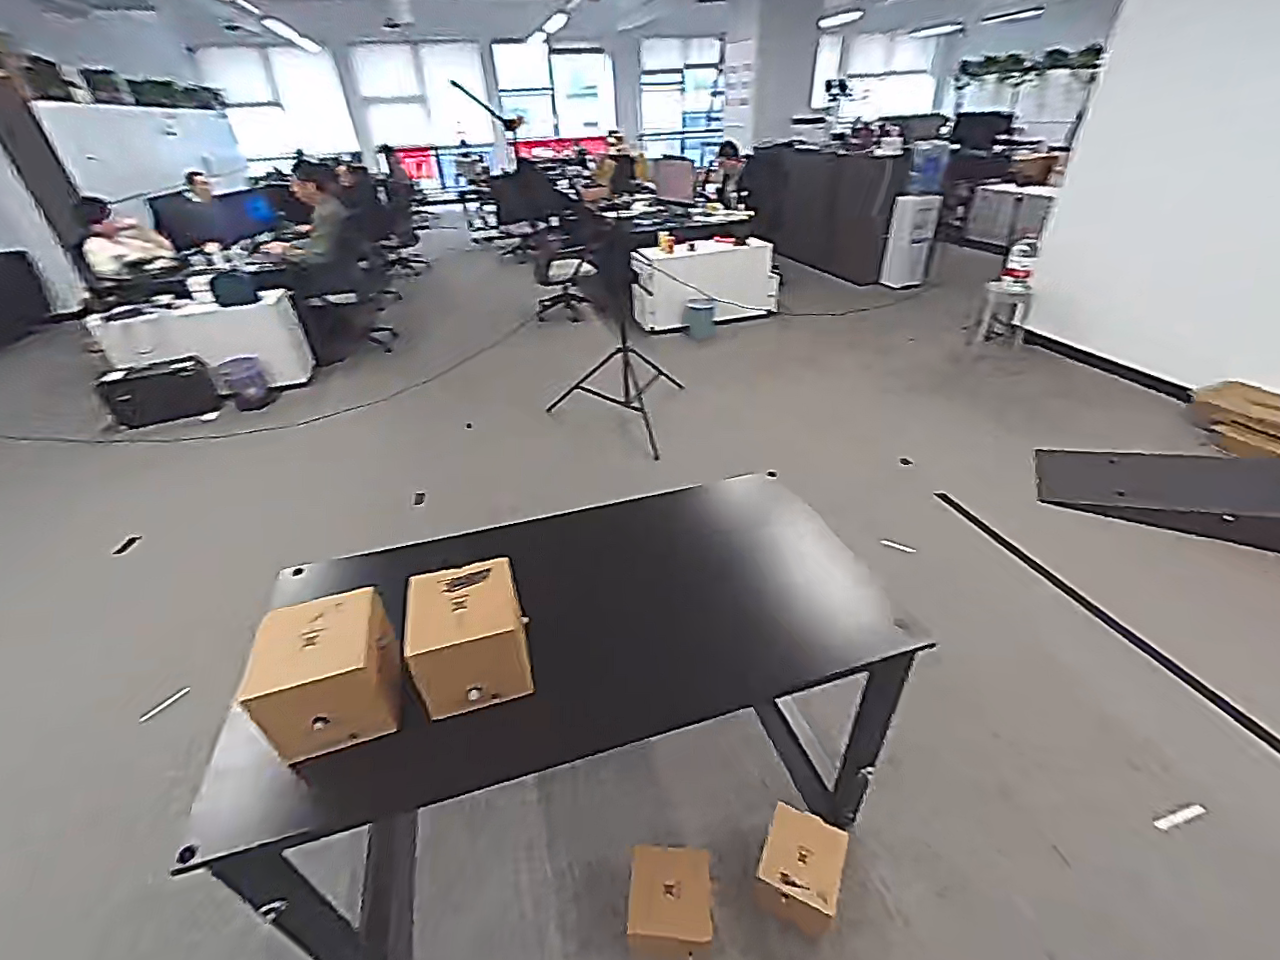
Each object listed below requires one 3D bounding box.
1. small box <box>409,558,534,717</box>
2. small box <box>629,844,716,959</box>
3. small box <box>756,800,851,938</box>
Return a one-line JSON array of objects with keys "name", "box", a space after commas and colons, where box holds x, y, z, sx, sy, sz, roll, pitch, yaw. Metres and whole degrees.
[{"name": "small box", "box": [-0.283, 0.266, 0.925, 0.168, 0.176, 0.179, -12, 36, -12]}, {"name": "small box", "box": [0.076, 0.942, 1.201, 0.179, 0.176, 0.168, 0, 34, 6]}, {"name": "small box", "box": [0.372, 0.892, 1.244, 0.168, 0.176, 0.179, 14, 38, 24]}]
